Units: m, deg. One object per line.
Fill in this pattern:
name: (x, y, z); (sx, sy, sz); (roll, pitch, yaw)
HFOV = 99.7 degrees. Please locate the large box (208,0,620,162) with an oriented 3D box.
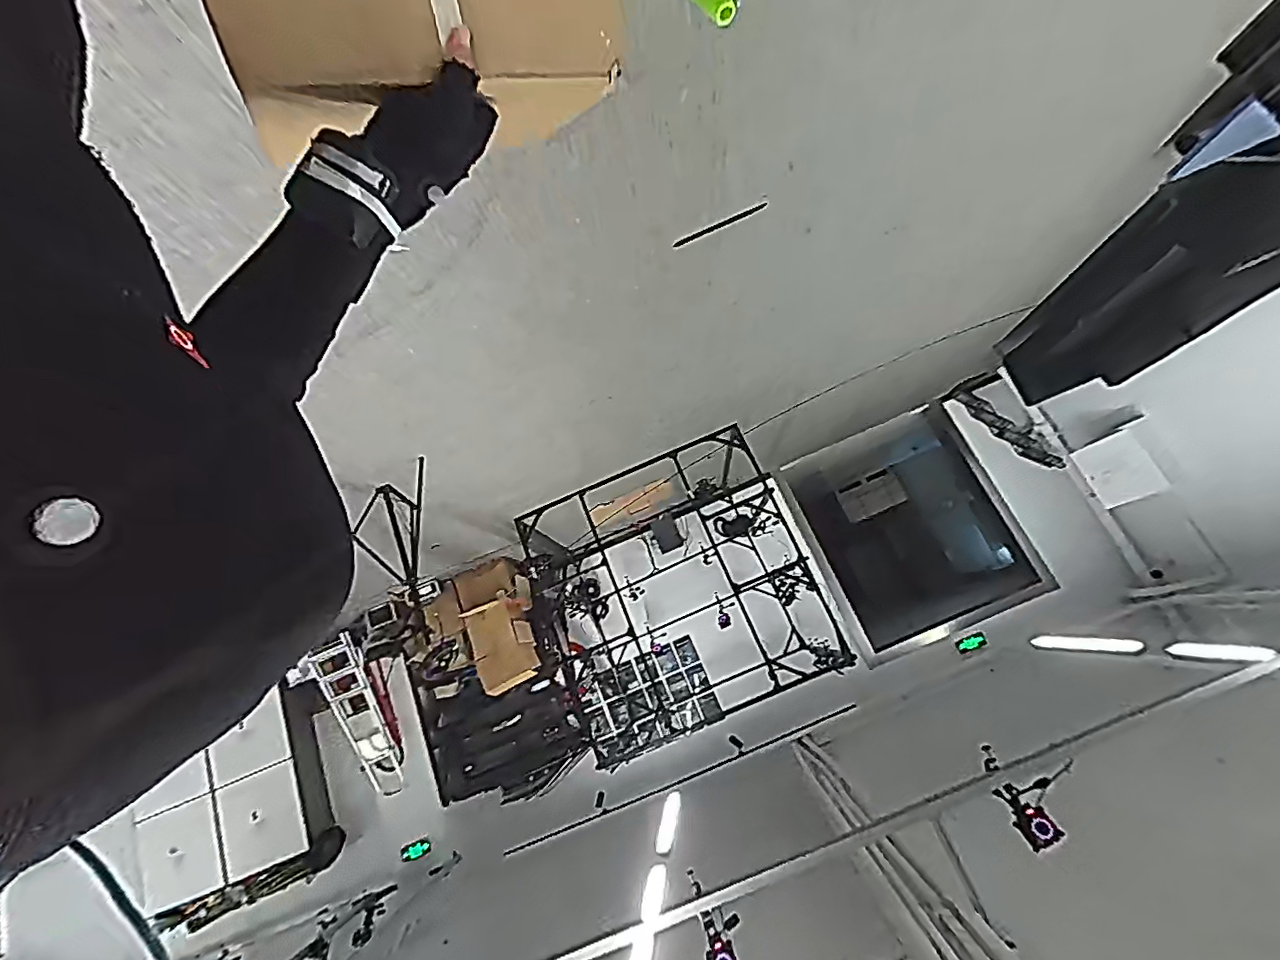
large box: (-0.252, -0.548, 0.481); (0.320, 0.408, 0.320); (-20, -152, -22)
